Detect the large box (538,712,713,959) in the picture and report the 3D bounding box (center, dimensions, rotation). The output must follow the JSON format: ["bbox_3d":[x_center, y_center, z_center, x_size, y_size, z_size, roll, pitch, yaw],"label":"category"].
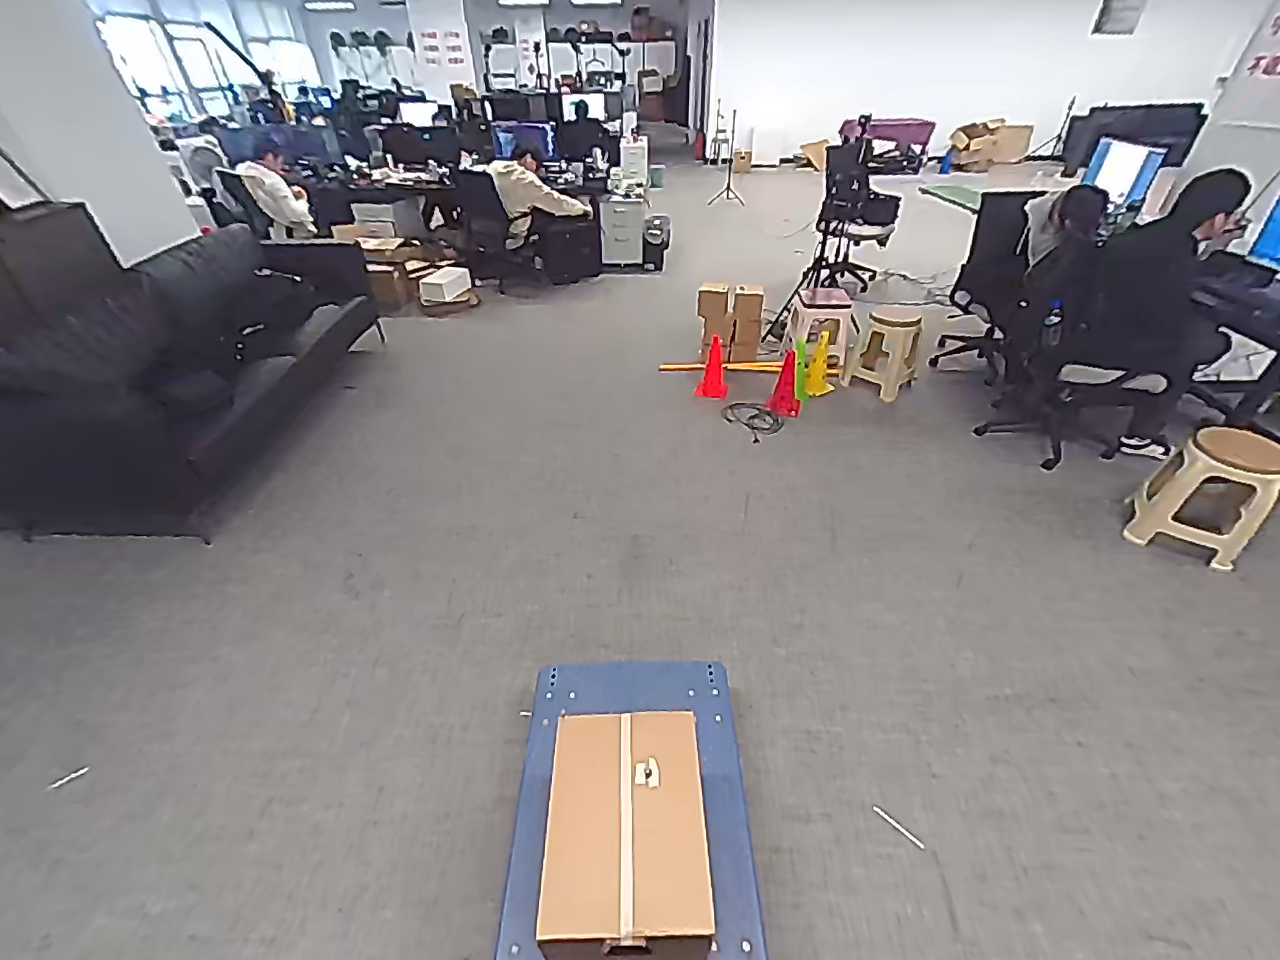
[{"bbox_3d":[-0.027,0.783,1.183,0.320,0.320,0.408,-2,38,0],"label":"large box"}]
